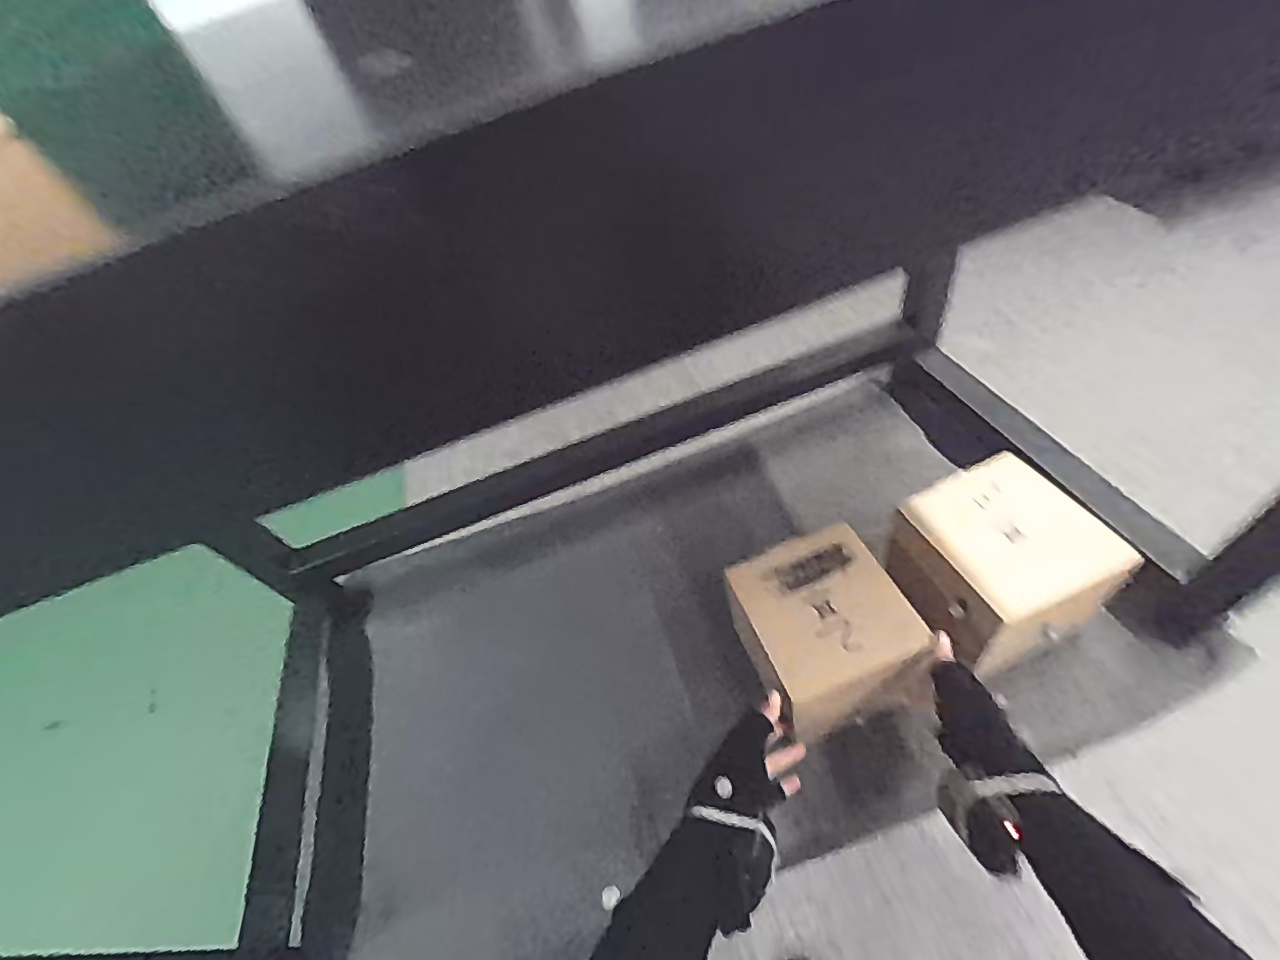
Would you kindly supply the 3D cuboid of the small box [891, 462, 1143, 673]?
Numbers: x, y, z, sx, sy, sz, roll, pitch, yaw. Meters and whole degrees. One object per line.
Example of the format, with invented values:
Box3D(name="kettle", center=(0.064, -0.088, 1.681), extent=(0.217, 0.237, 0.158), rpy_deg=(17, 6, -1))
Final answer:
Box3D(name="small box", center=(0.442, 0.116, 0.672), extent=(0.168, 0.176, 0.179), rpy_deg=(-24, 47, -4))
